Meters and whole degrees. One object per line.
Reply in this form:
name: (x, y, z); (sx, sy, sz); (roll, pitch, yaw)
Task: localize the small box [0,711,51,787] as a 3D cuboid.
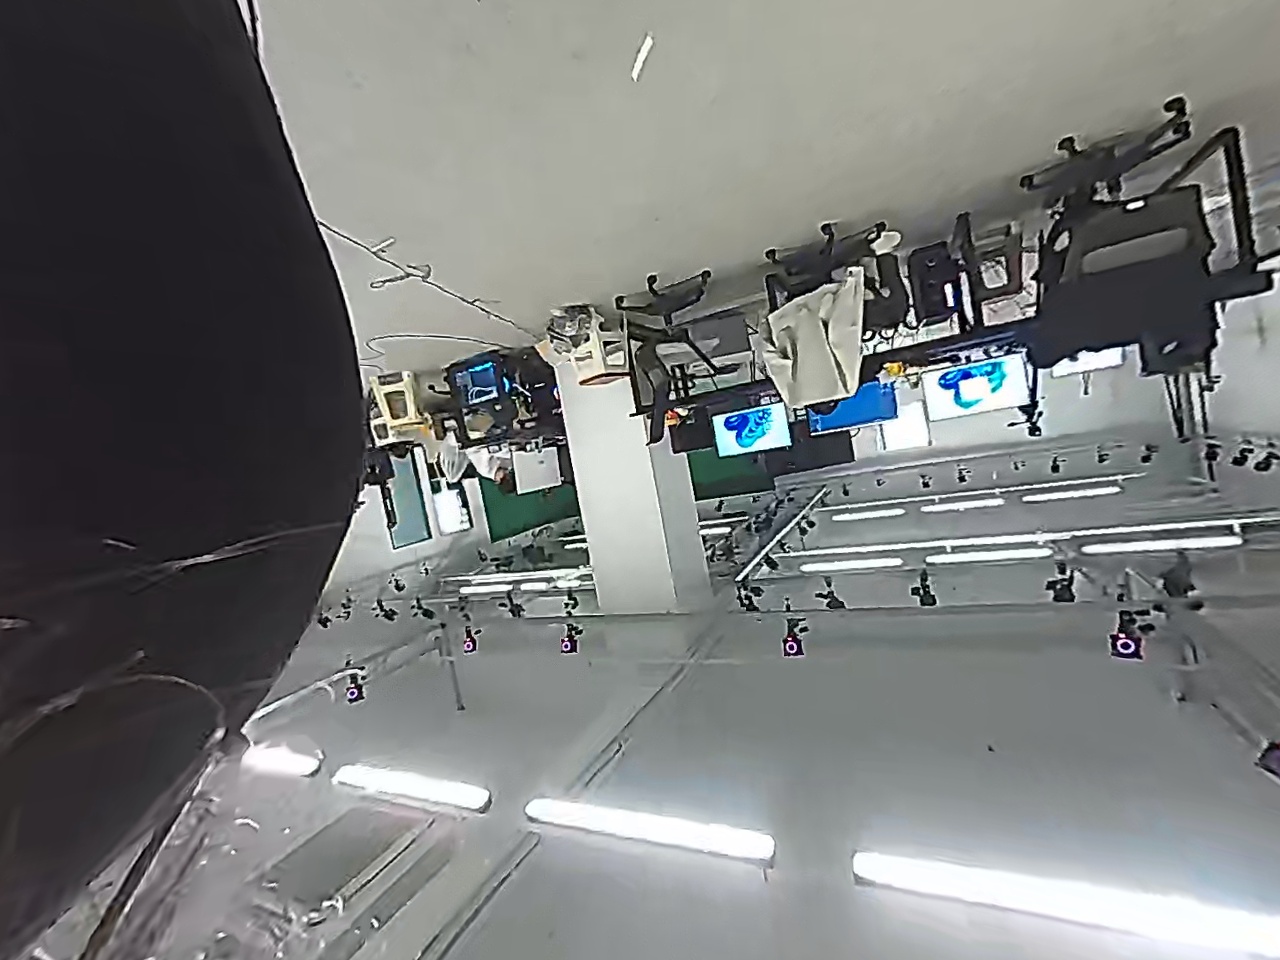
small box: (-1.916, 0.809, 1.606); (0.179, 0.176, 0.168); (-6, -176, 28)
